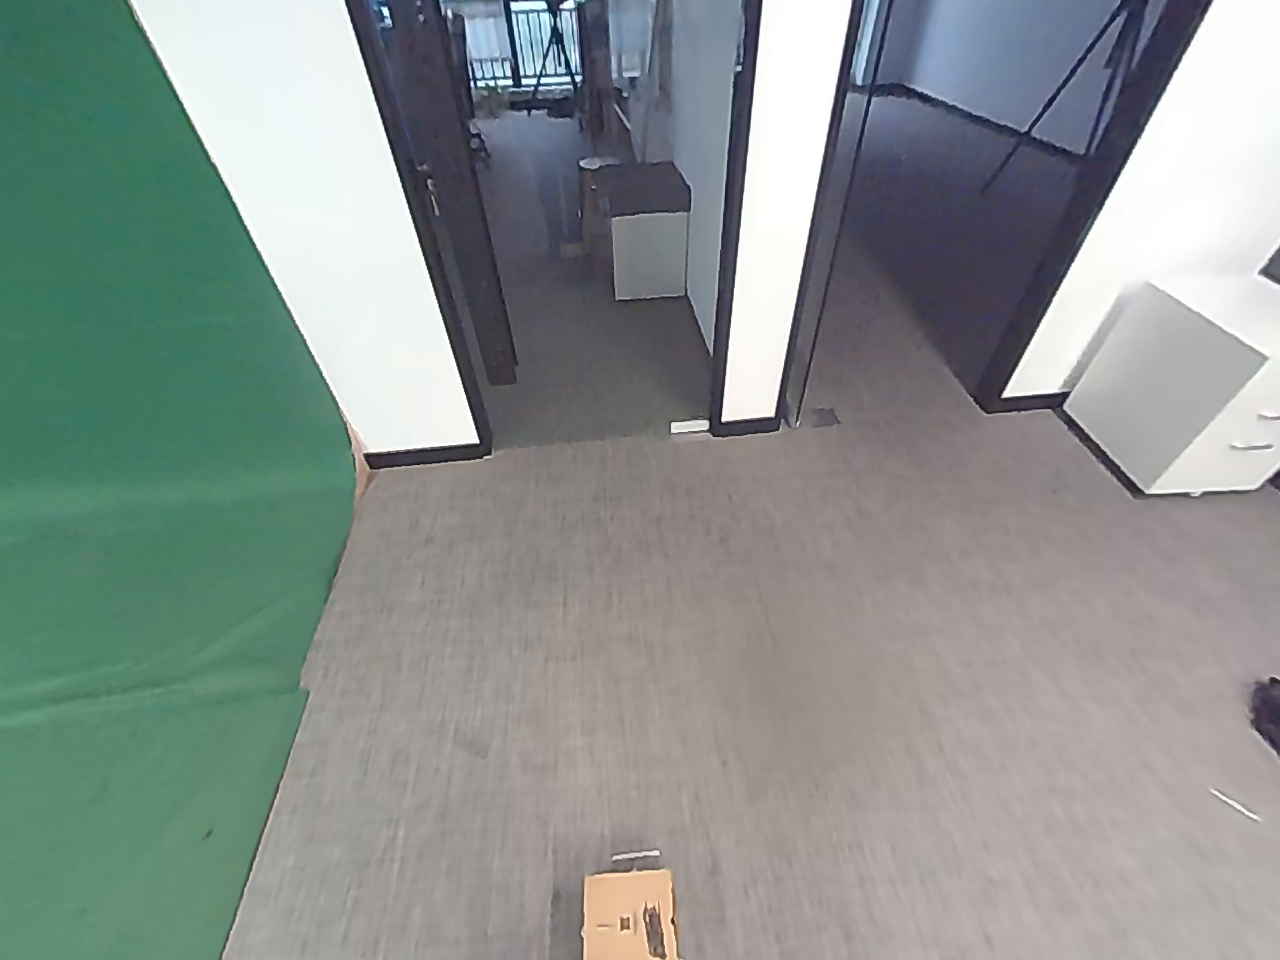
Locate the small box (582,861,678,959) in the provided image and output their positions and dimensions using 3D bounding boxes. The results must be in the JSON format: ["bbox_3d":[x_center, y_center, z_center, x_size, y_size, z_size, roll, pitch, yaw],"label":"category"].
[{"bbox_3d":[-0.020,0.886,1.088,0.179,0.176,0.168,-4,44,-1],"label":"small box"}]
